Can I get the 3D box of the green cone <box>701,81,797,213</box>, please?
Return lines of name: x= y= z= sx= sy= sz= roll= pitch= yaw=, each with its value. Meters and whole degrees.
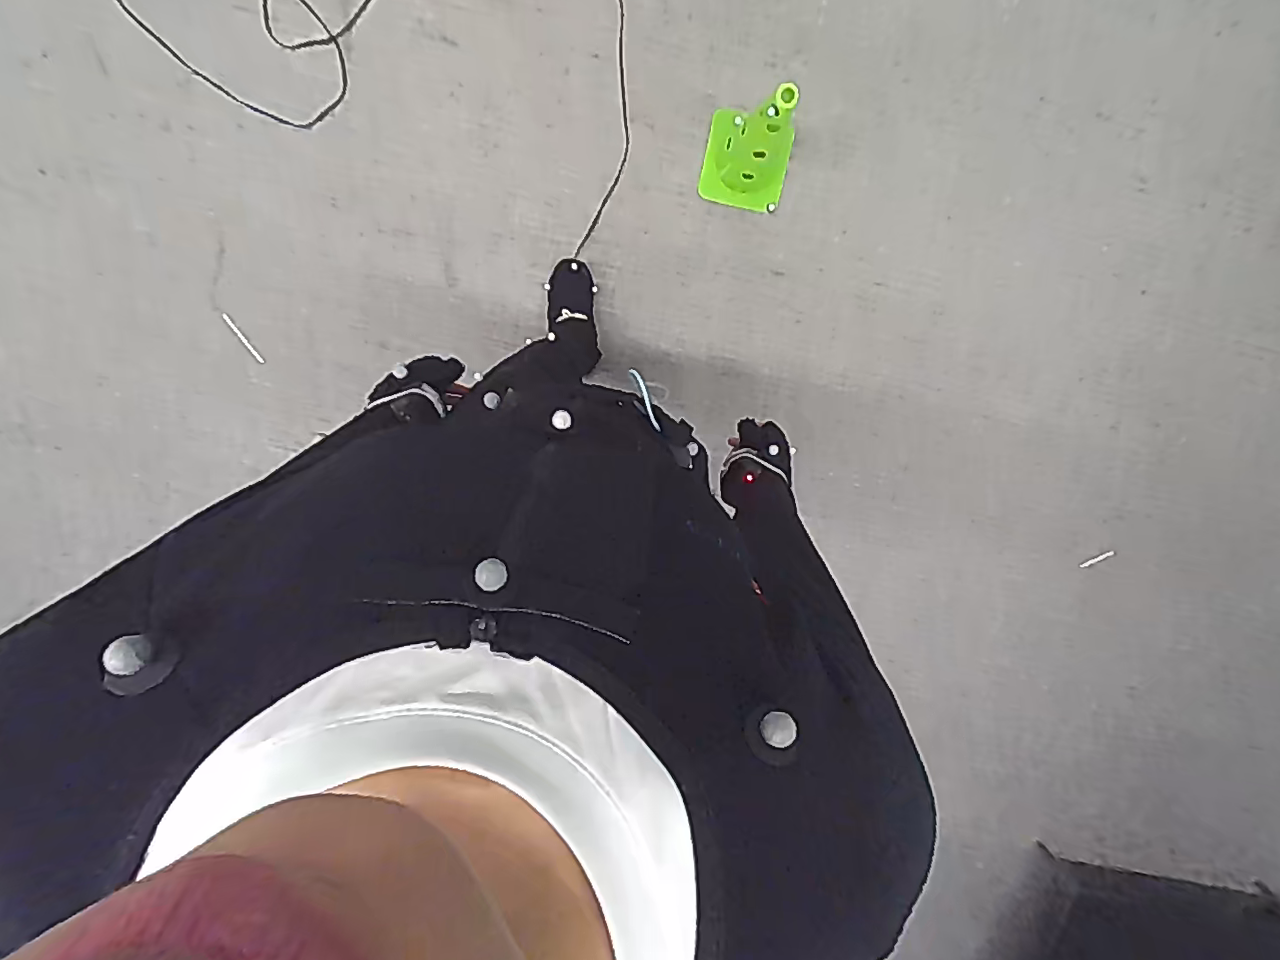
green cone: x=0.259 y=-0.725 z=1.129 sx=0.202 sy=0.368 sz=0.200 roll=11 pitch=102 yaw=-2
